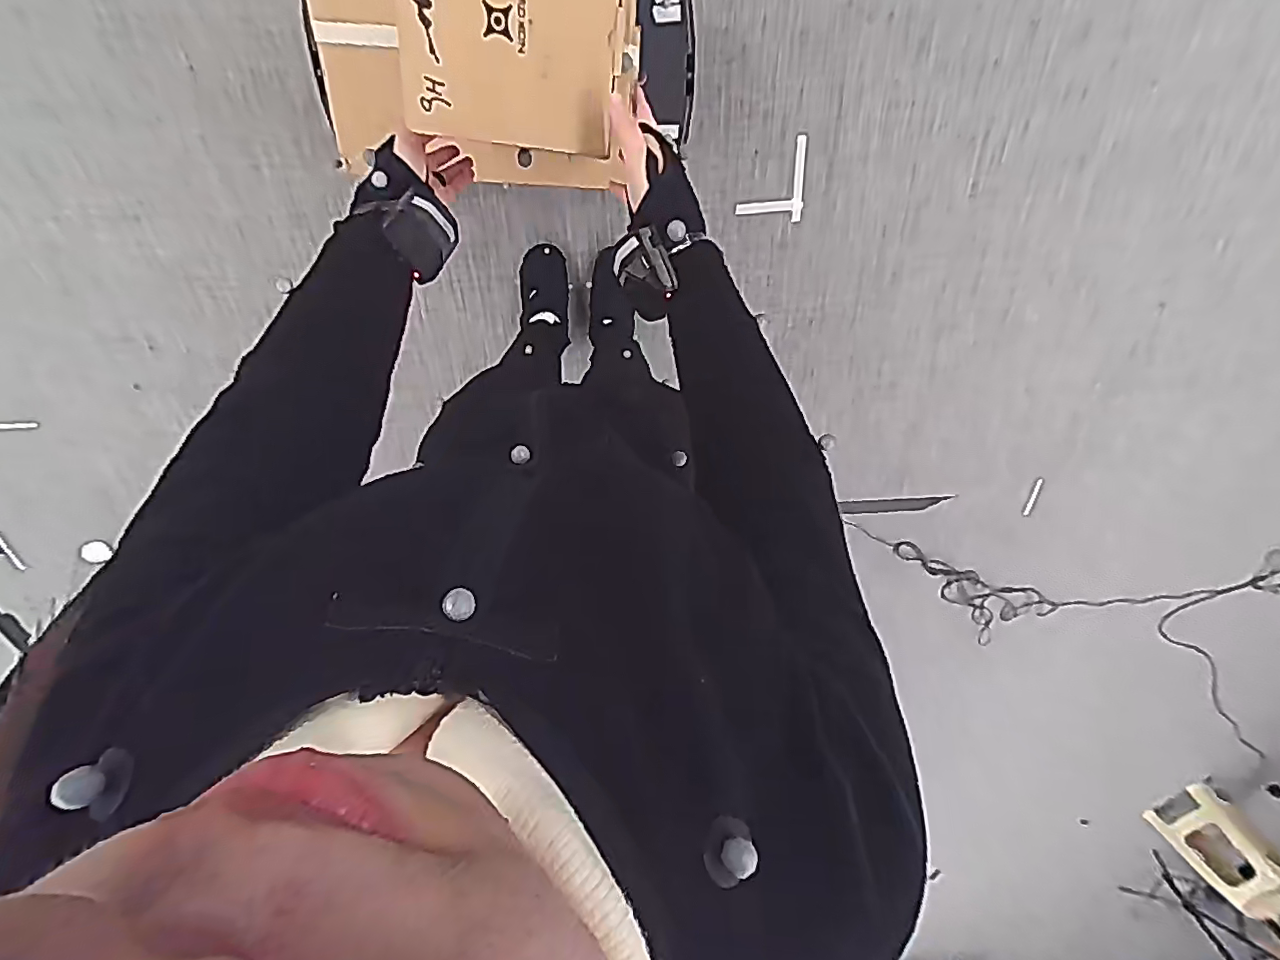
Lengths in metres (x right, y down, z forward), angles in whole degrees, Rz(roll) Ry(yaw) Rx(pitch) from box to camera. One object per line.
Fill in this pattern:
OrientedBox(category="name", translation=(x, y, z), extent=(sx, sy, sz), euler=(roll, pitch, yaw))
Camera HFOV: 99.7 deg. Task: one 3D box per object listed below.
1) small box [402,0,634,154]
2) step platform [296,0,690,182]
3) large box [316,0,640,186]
OrientedBox(category="small box", translation=(-0.101, -0.401, 0.485), extent=(0.179, 0.176, 0.168), euler=(4, 120, -8))
OrientedBox(category="step platform", translation=(-0.248, -0.752, 1.019), extent=(0.684, 0.204, 0.286), euler=(3, 121, -5))
OrientedBox(category="large box", translation=(-0.206, -0.634, 0.815), extent=(0.408, 0.320, 0.320), euler=(1, 120, -4))
